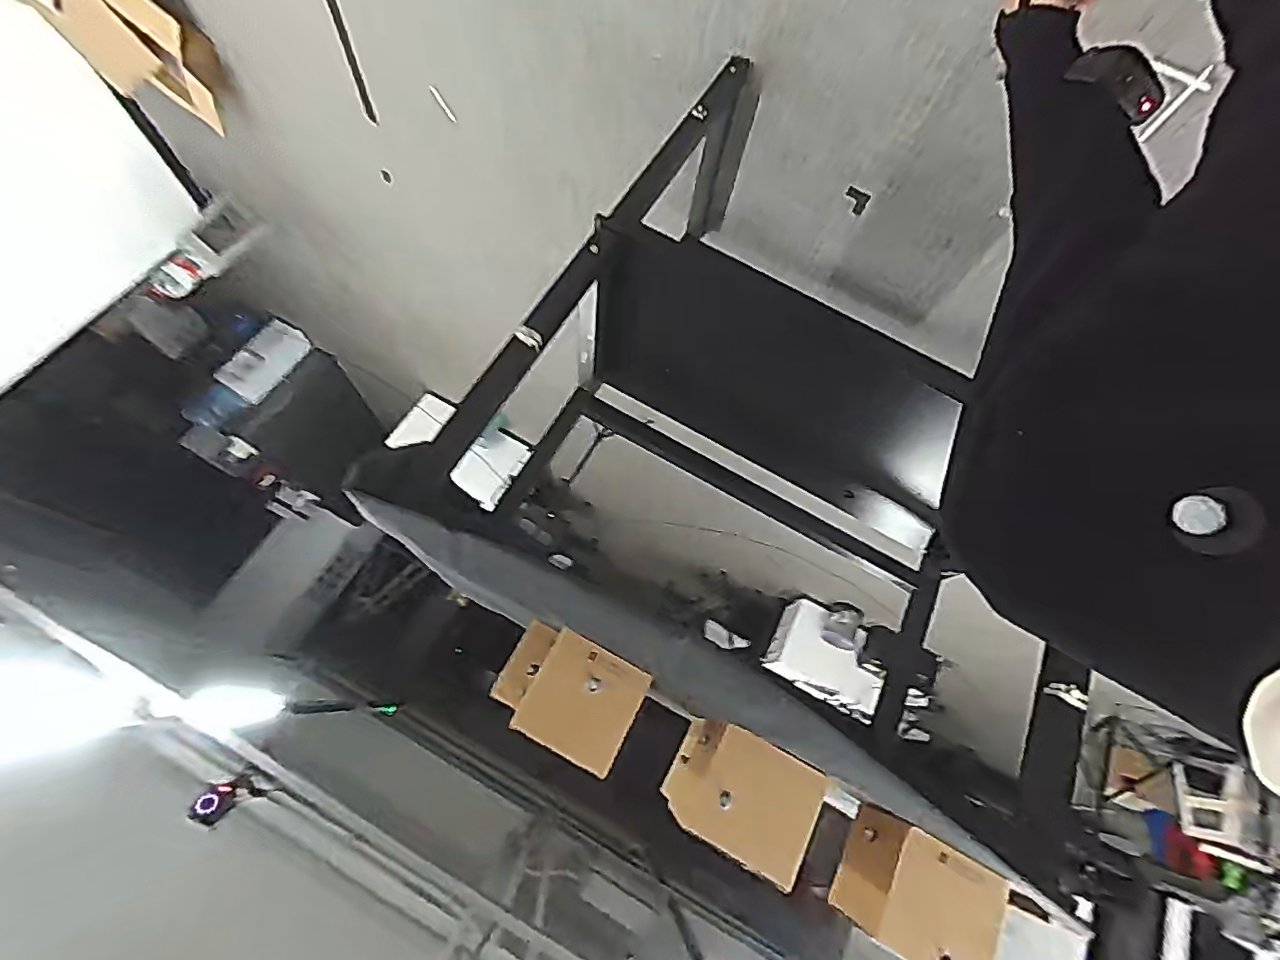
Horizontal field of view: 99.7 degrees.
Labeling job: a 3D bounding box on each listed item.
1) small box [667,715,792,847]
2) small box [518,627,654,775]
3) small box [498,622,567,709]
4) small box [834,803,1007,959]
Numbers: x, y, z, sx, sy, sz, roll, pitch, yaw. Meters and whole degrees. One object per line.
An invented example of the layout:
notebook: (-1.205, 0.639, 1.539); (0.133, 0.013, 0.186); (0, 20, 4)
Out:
small box: (0.180, 0.603, 1.108); (0.179, 0.176, 0.168); (28, 158, 4)
small box: (-0.091, 0.370, 0.932); (0.168, 0.176, 0.179); (29, 160, 2)
small box: (-0.173, 0.414, 1.139); (0.168, 0.176, 0.179); (29, 158, 7)
small box: (0.446, 0.652, 0.867); (0.168, 0.176, 0.179); (28, 159, 7)
